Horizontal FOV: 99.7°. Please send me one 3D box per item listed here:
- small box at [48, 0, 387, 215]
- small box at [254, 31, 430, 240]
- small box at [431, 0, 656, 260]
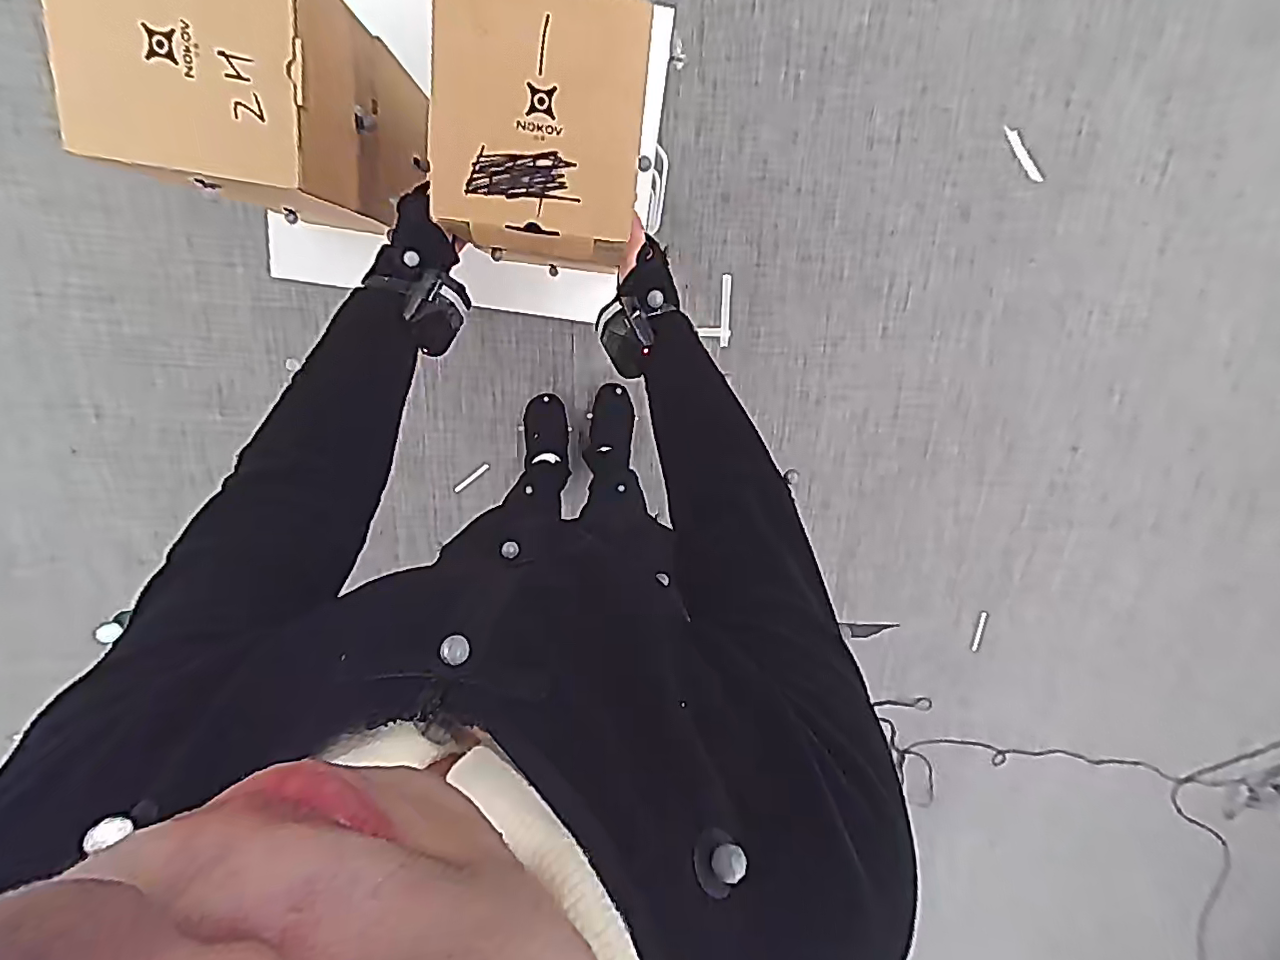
[{"bbox_3d":[-0.347,-0.344,0.475,0.179,0.176,0.168,7,108,-6],"label":"small box"},{"bbox_3d":[-0.355,-0.398,0.631,0.168,0.176,0.179,8,106,-6],"label":"small box"},{"bbox_3d":[-0.084,-0.311,0.499,0.168,0.176,0.179,5,105,-7],"label":"small box"}]
